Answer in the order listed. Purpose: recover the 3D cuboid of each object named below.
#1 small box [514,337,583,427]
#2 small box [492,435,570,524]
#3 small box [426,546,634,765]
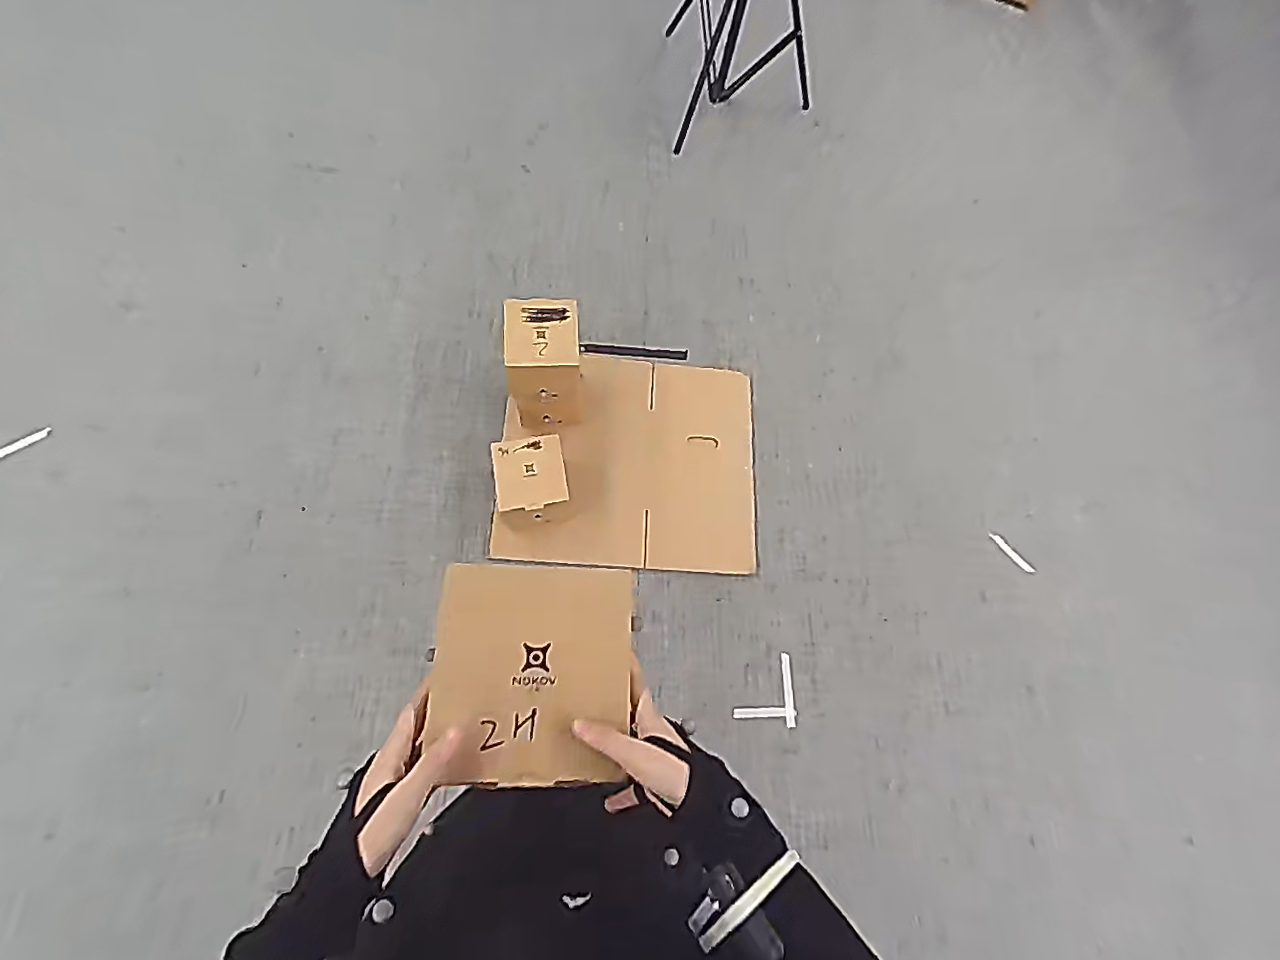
[{"bbox_3d":[-0.241,-0.258,1.439,0.168,0.176,0.179,-5,72,-8],"label":"small box"},{"bbox_3d":[-0.266,0.006,1.345,0.168,0.176,0.179,-9,74,-10],"label":"small box"},{"bbox_3d":[-0.100,0.172,0.531,0.168,0.176,0.179,3,69,-9],"label":"small box"}]
